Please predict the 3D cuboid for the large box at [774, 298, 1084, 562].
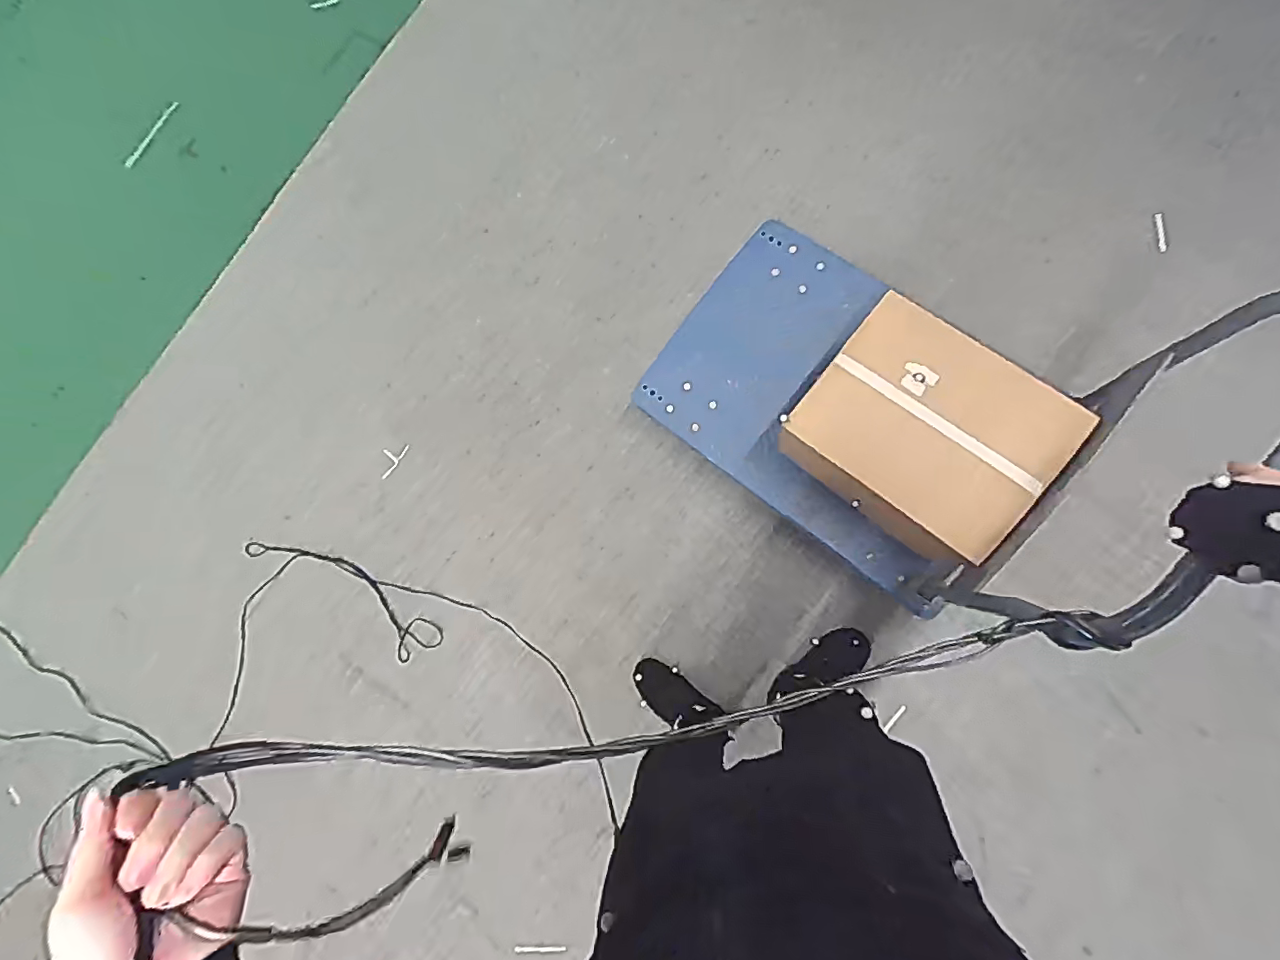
[{"bbox_3d":[0.526,-0.081,1.088,0.408,0.320,0.320,39,93,14],"label":"large box"}]
